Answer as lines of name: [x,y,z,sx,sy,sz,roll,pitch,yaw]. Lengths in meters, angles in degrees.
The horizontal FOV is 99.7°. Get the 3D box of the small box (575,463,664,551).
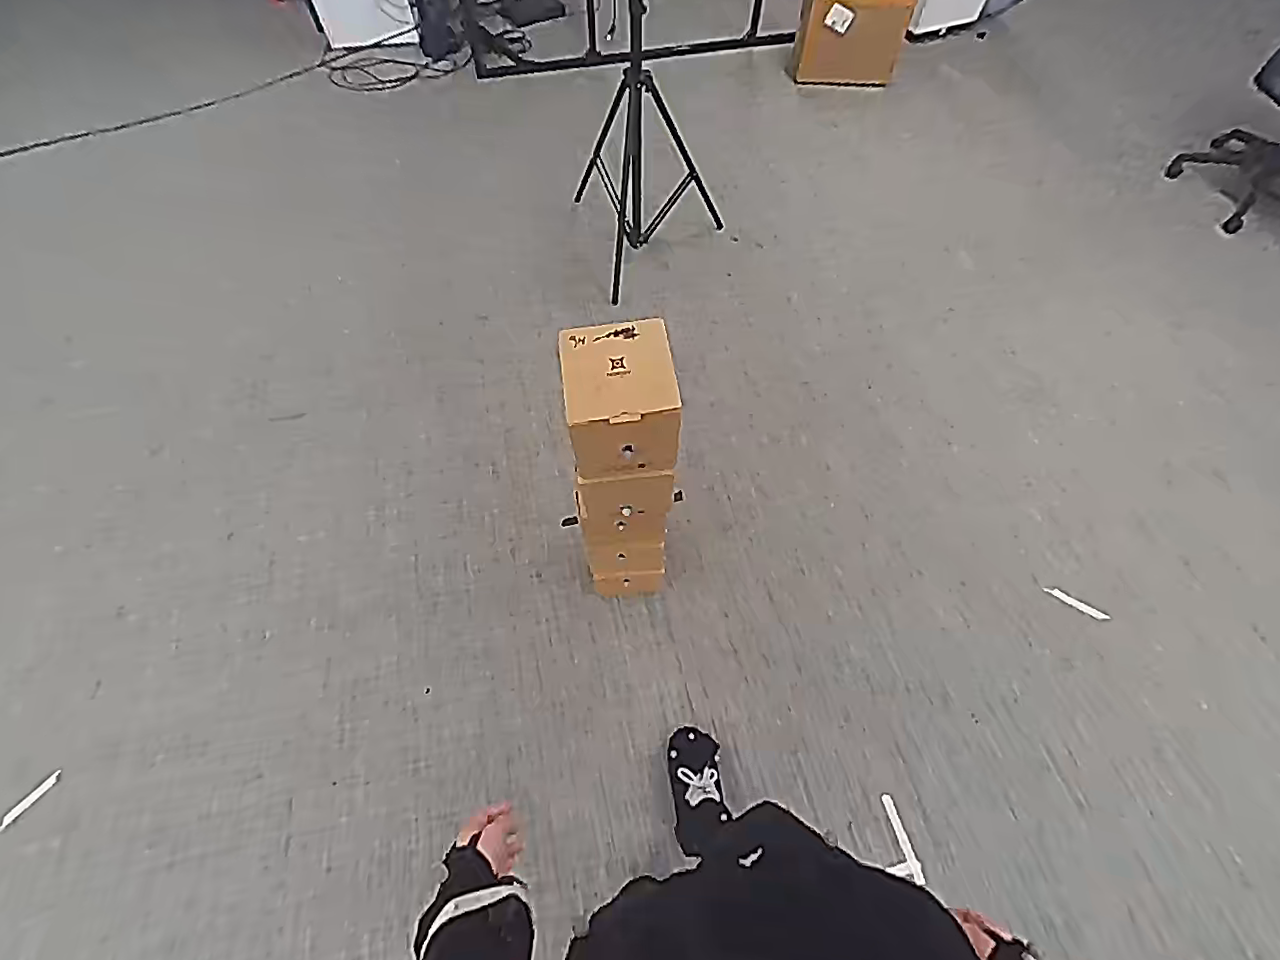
small box: [-0.041,0.046,1.155,0.179,0.176,0.168,-5,63,-3]

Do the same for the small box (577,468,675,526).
small box: [-0.029,-0.030,1.009,0.168,0.176,0.179,-6,64,-1]

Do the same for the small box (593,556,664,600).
small box: [-0.036,0.213,1.435,0.179,0.176,0.168,-5,62,-2]

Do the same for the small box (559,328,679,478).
small box: [-0.032,-0.114,0.868,0.168,0.176,0.179,-7,64,-3]

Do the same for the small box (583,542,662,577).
small box: [-0.039,0.129,1.294,0.179,0.176,0.168,-2,63,-1]
